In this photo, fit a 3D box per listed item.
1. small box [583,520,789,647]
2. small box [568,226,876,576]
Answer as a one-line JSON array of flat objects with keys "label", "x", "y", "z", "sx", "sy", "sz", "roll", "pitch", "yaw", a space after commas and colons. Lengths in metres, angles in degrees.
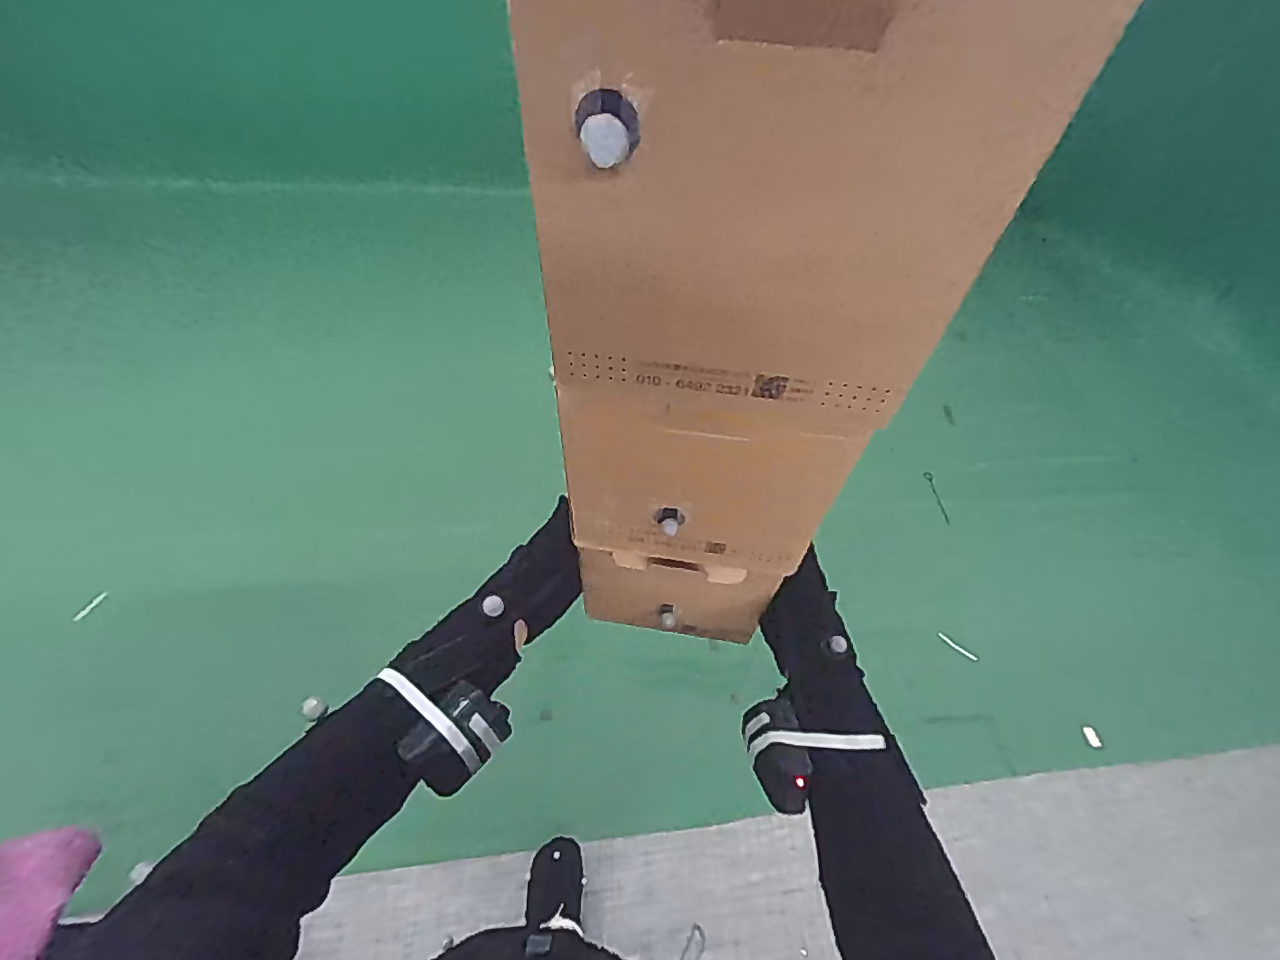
[{"label": "small box", "x": 0.046, "y": 0.039, "z": 0.529, "sx": 0.168, "sy": 0.176, "sz": 0.179, "roll": 9, "pitch": 53, "yaw": 5}, {"label": "small box", "x": 0.049, "y": -0.054, "z": 0.395, "sx": 0.168, "sy": 0.176, "sz": 0.179, "roll": 7, "pitch": 54, "yaw": 3}]
